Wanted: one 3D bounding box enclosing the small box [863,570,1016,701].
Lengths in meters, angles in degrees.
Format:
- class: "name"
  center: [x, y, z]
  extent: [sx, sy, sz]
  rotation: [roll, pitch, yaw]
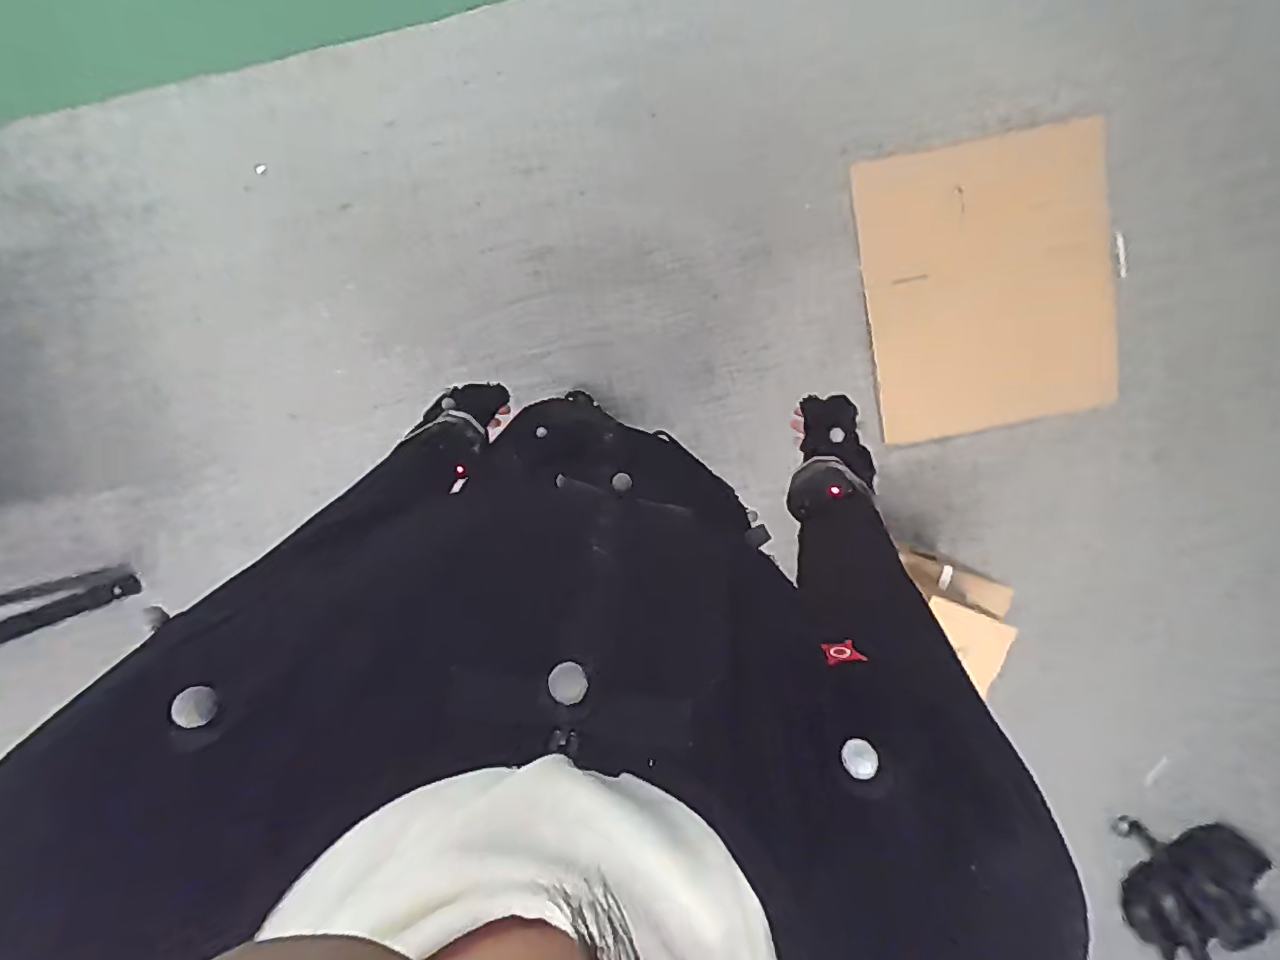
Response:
- class: "small box"
  center: [0.579, 0.297, 1.071]
  extent: [0.179, 0.176, 0.168]
  rotation: [22, 97, 0]
